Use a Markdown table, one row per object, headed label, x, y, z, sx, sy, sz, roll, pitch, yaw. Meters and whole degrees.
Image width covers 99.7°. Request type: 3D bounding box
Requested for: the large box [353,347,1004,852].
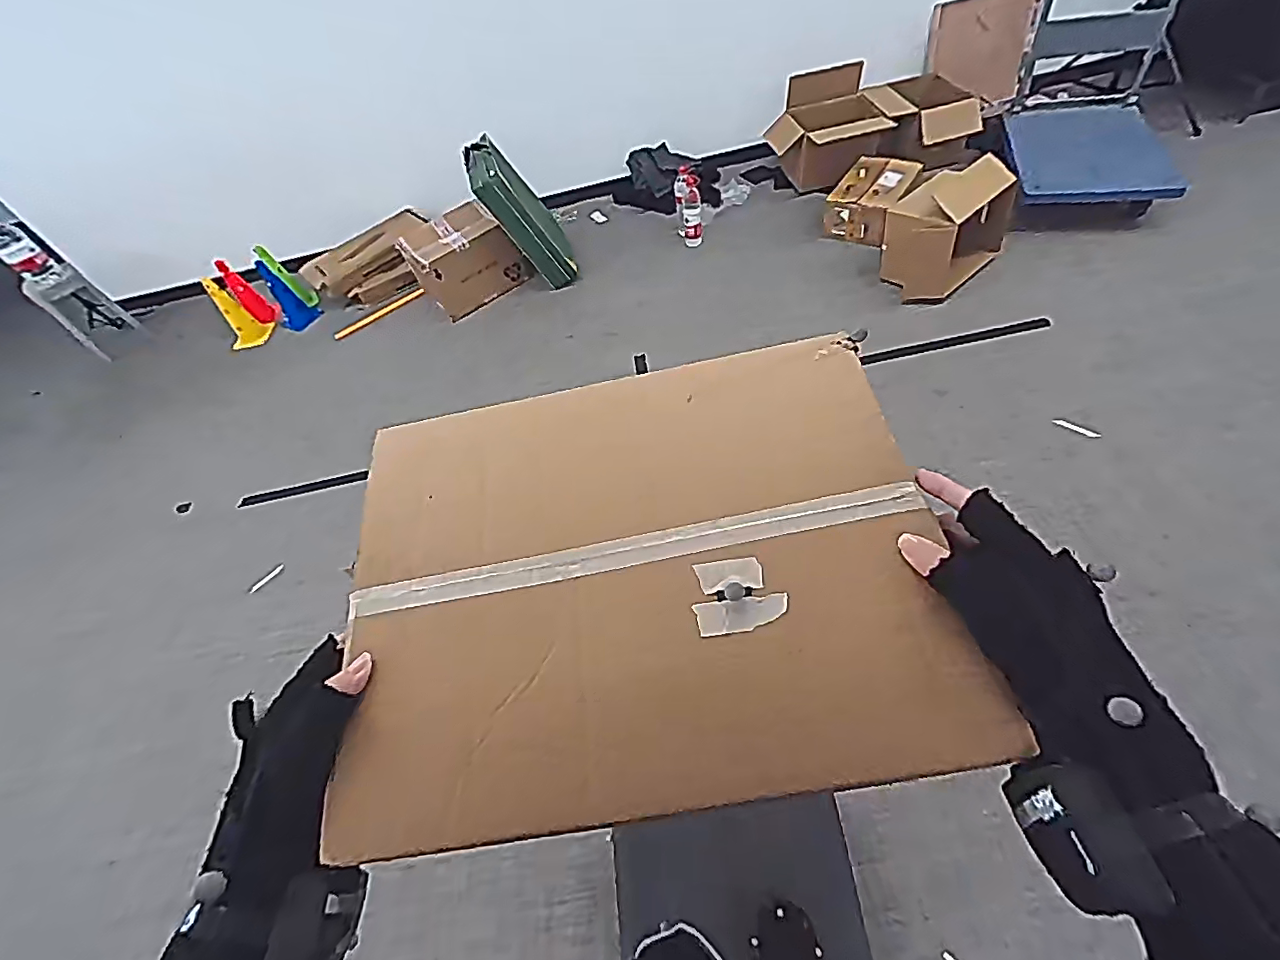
| label | x | y | z | sx | sy | sz | roll | pitch | yaw |
| --- | --- | --- | --- | --- | --- | --- | --- | --- | --- |
| large box | 0.016 | 0.129 | 0.521 | 0.408 | 0.320 | 0.320 | -11 | 60 | 3 |
